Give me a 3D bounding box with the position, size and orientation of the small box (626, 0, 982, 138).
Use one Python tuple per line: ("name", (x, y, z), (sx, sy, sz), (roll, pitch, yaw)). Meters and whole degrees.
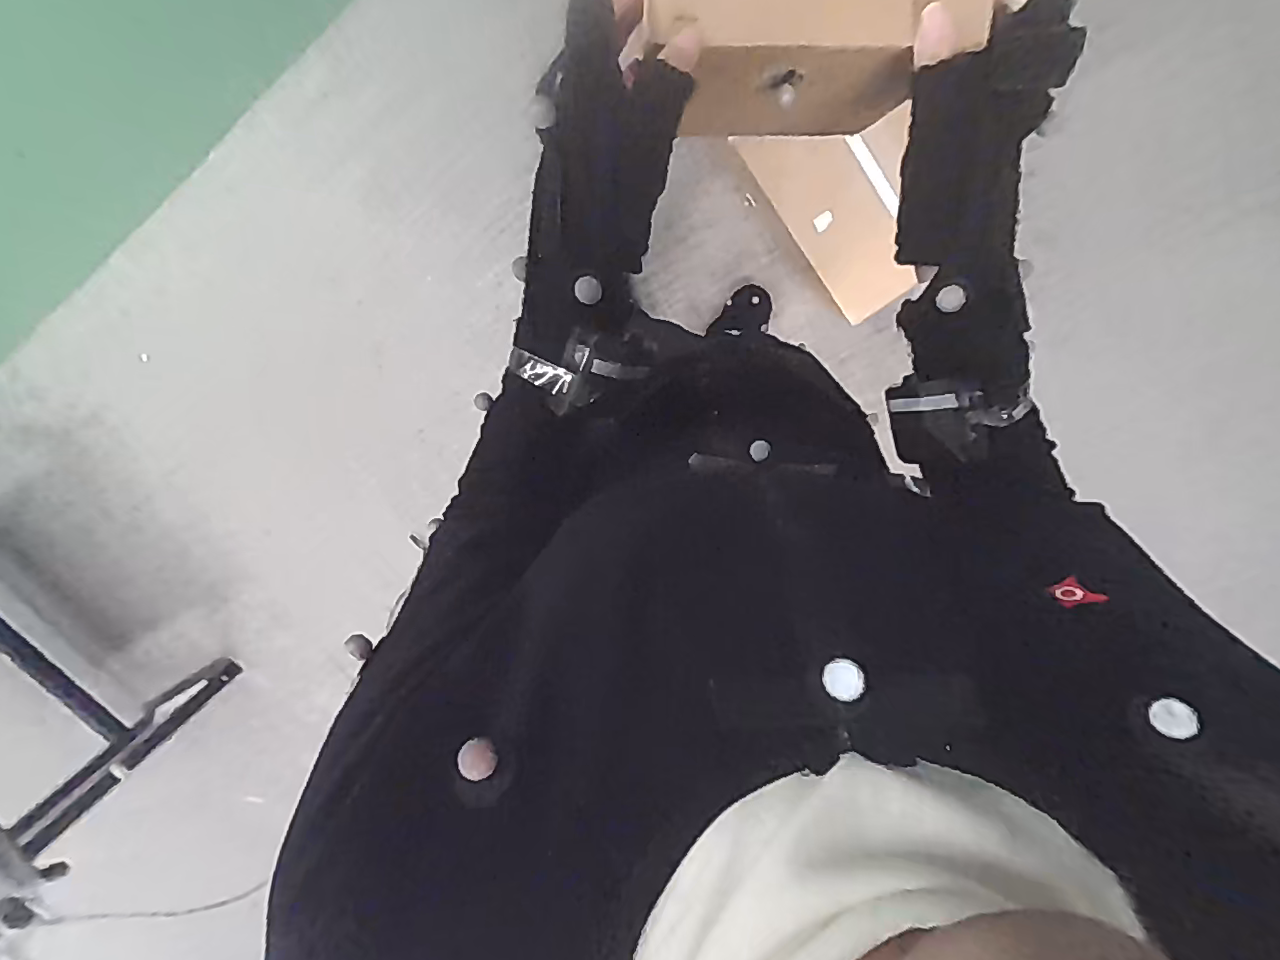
("small box", (0.078, -0.317, 0.320), (0.179, 0.176, 0.168), (-2, 110, -2))
